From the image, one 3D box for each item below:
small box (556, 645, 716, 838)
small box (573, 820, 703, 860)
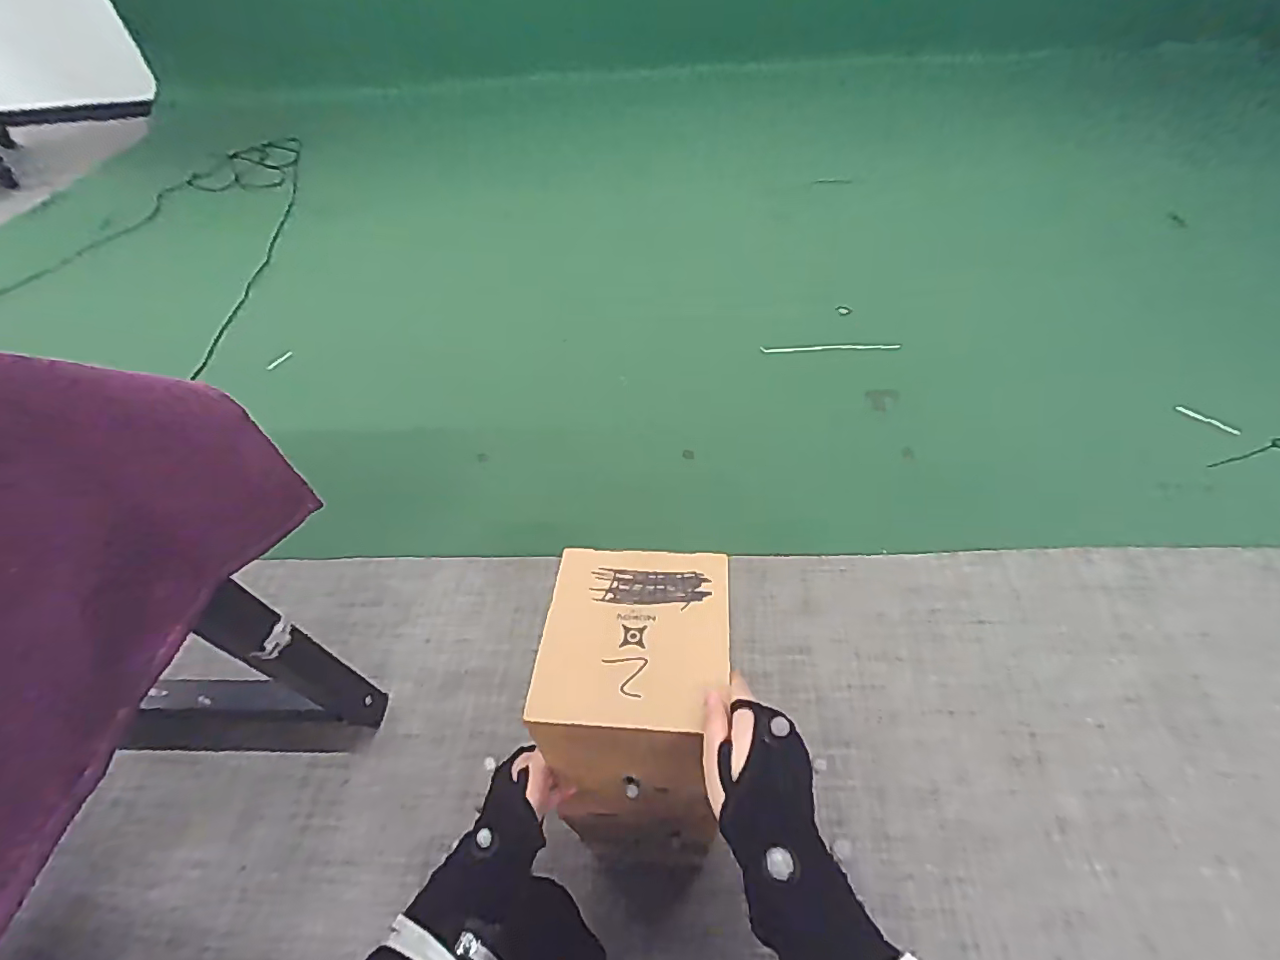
[{"bbox_3d":[0.005,0.319,0.655,0.168,0.176,0.179,2,50,3],"label":"small box"},{"bbox_3d":[0.011,0.428,0.776,0.168,0.176,0.179,3,51,6],"label":"small box"}]
